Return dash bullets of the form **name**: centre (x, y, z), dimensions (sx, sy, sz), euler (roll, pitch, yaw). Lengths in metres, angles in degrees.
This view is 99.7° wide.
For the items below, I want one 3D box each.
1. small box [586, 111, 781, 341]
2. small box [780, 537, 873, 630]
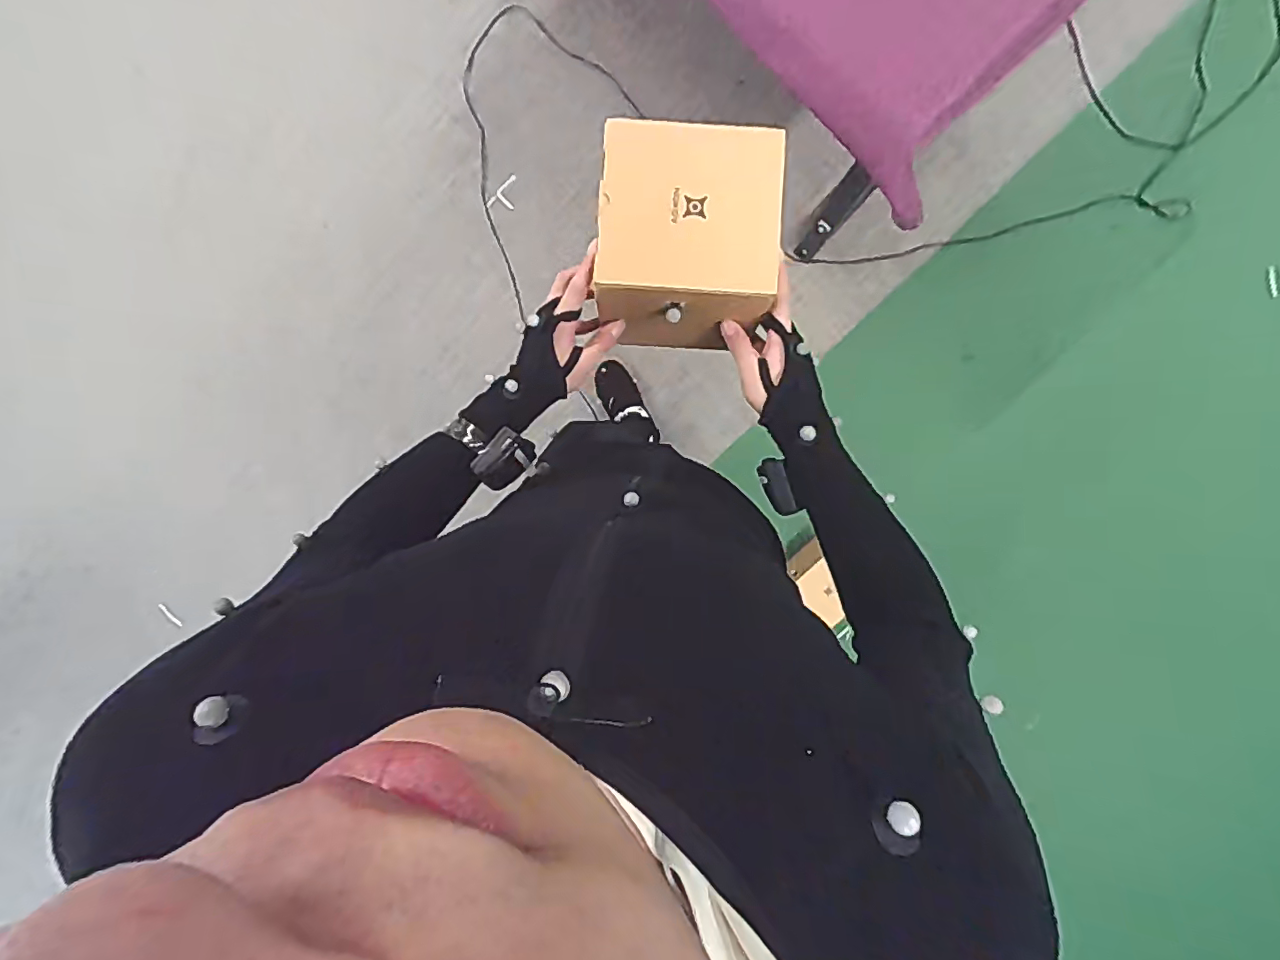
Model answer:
- **small box**: centre (0.043, -0.258, 0.586), dimensions (0.179, 0.176, 0.168), euler (4, 86, 2)
- **small box**: centre (0.521, 0.288, 1.543), dimensions (0.179, 0.176, 0.168), euler (-44, 93, 8)
